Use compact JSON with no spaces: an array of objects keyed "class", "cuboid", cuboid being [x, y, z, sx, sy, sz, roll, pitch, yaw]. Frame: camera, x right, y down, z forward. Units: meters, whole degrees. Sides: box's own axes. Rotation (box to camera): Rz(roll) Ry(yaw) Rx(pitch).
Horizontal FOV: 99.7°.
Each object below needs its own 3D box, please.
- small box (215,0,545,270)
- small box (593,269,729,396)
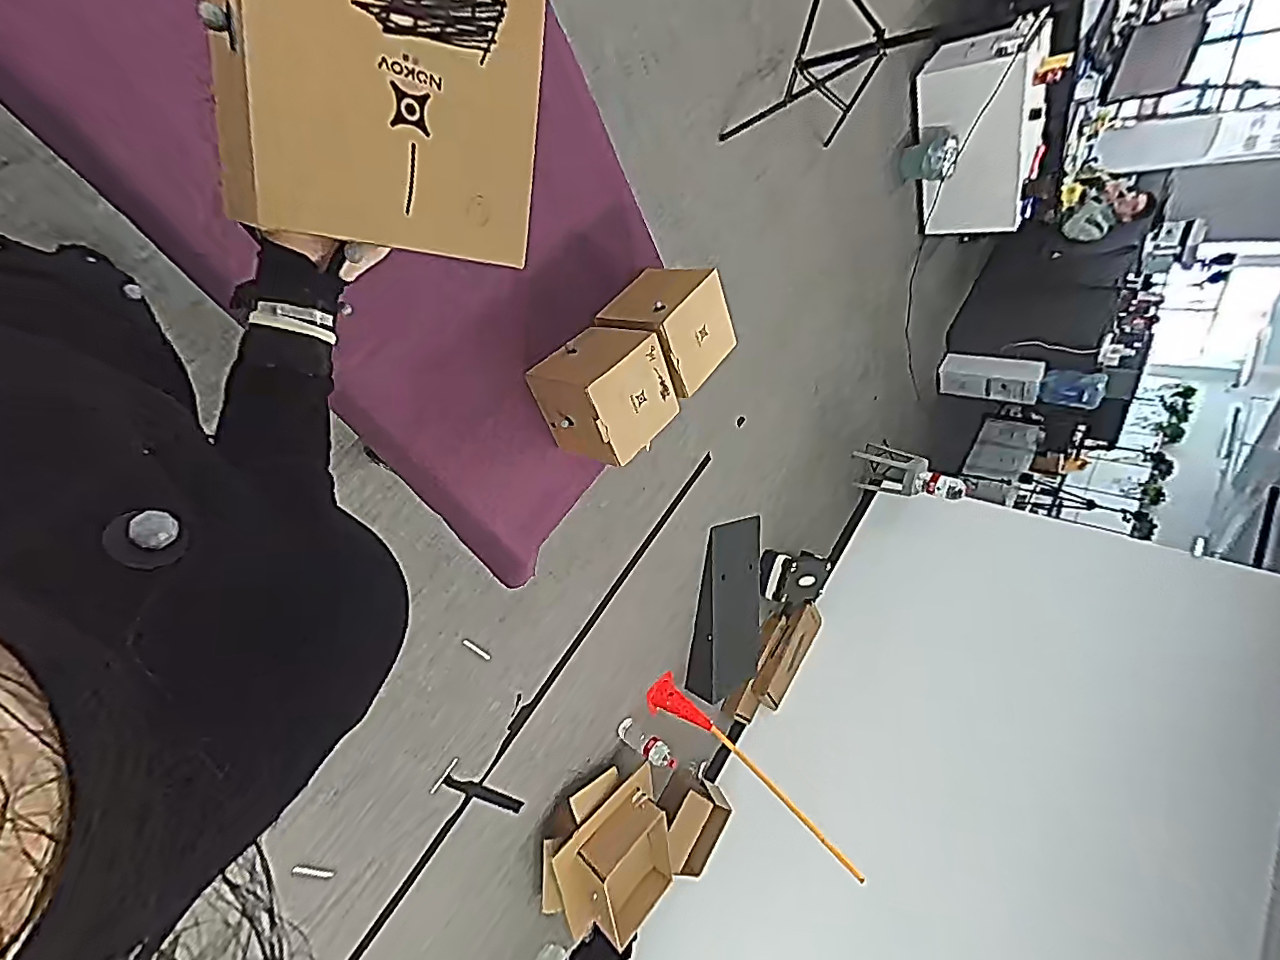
[{"class":"small box","cuboid":[-0.187,-0.260,0.385,0.168,0.176,0.179,-8,117,-40]},{"class":"small box","cuboid":[0.042,-0.289,1.040,0.179,0.176,0.168,-50,137,-24]}]
